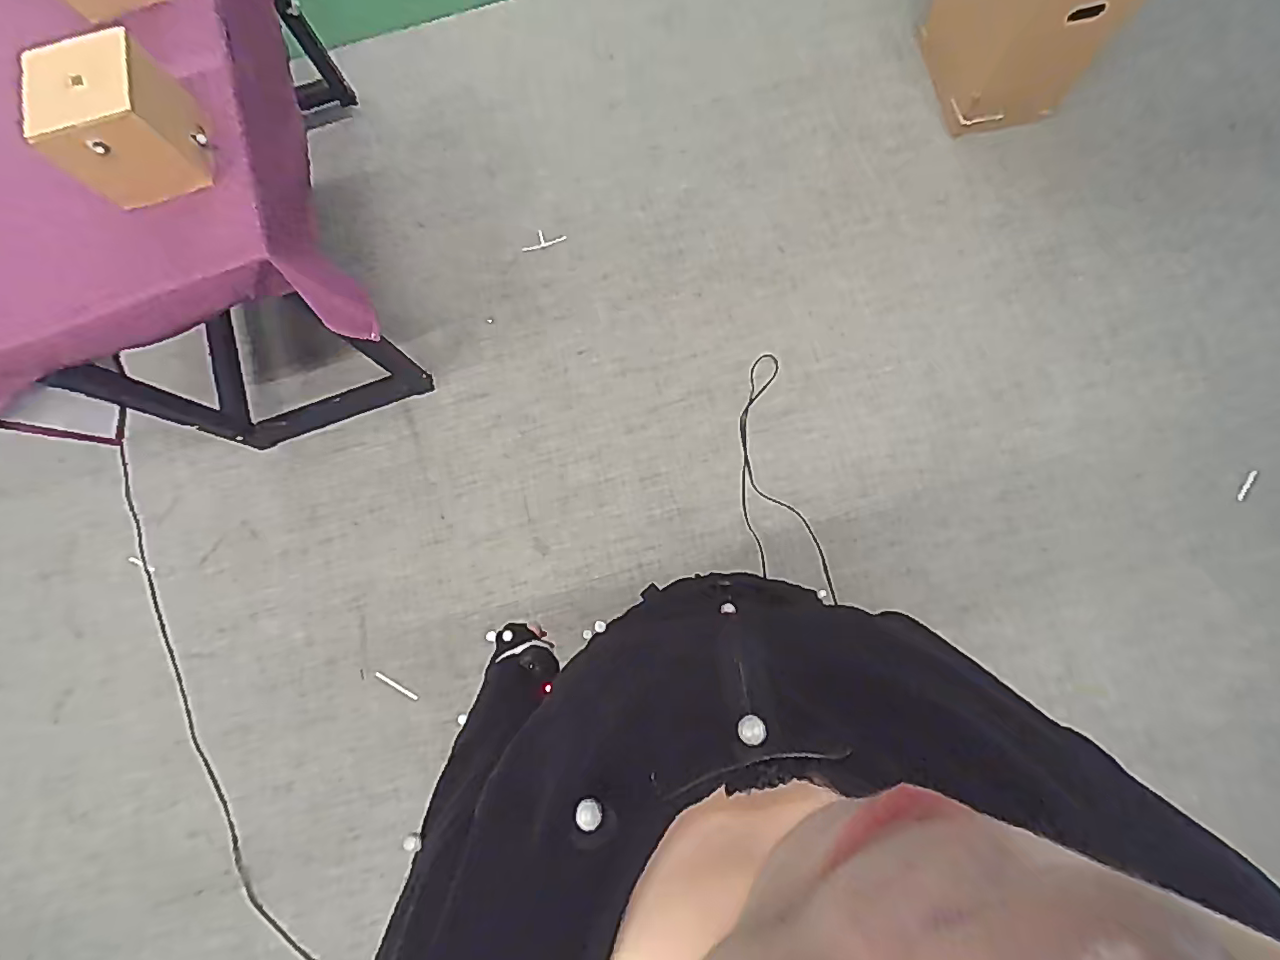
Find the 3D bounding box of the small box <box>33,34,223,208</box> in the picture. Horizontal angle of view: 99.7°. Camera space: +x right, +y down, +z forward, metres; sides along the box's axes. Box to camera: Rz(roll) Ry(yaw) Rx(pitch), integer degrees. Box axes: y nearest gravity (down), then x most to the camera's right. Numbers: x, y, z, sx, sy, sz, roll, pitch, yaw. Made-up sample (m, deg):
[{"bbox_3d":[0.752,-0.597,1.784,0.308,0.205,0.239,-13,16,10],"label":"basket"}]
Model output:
[{"bbox_3d":[-0.874,-0.606,0.936,0.179,0.176,0.168,-14,79,1],"label":"small box"}]
